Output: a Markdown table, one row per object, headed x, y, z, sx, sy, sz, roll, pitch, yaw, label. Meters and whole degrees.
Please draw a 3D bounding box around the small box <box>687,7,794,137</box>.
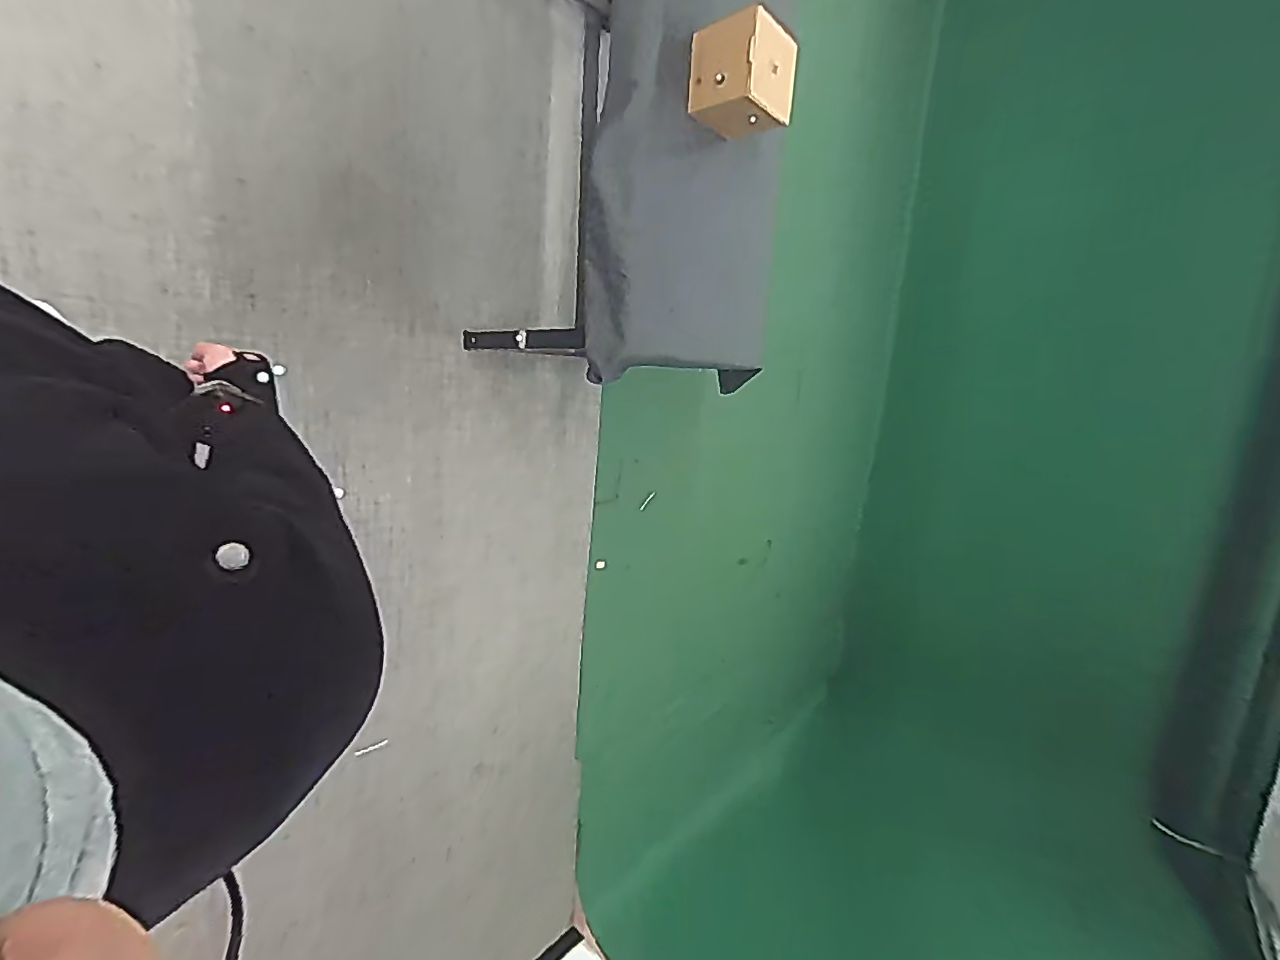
| x | y | z | sx | sy | sz | roll | pitch | yaw | label |
| --- | --- | --- | --- | --- | --- | --- | --- | --- | --- |
| 0.225 | -0.906 | 1.225 | 0.179 | 0.176 | 0.168 | -9 | 108 | -48 | small box |
